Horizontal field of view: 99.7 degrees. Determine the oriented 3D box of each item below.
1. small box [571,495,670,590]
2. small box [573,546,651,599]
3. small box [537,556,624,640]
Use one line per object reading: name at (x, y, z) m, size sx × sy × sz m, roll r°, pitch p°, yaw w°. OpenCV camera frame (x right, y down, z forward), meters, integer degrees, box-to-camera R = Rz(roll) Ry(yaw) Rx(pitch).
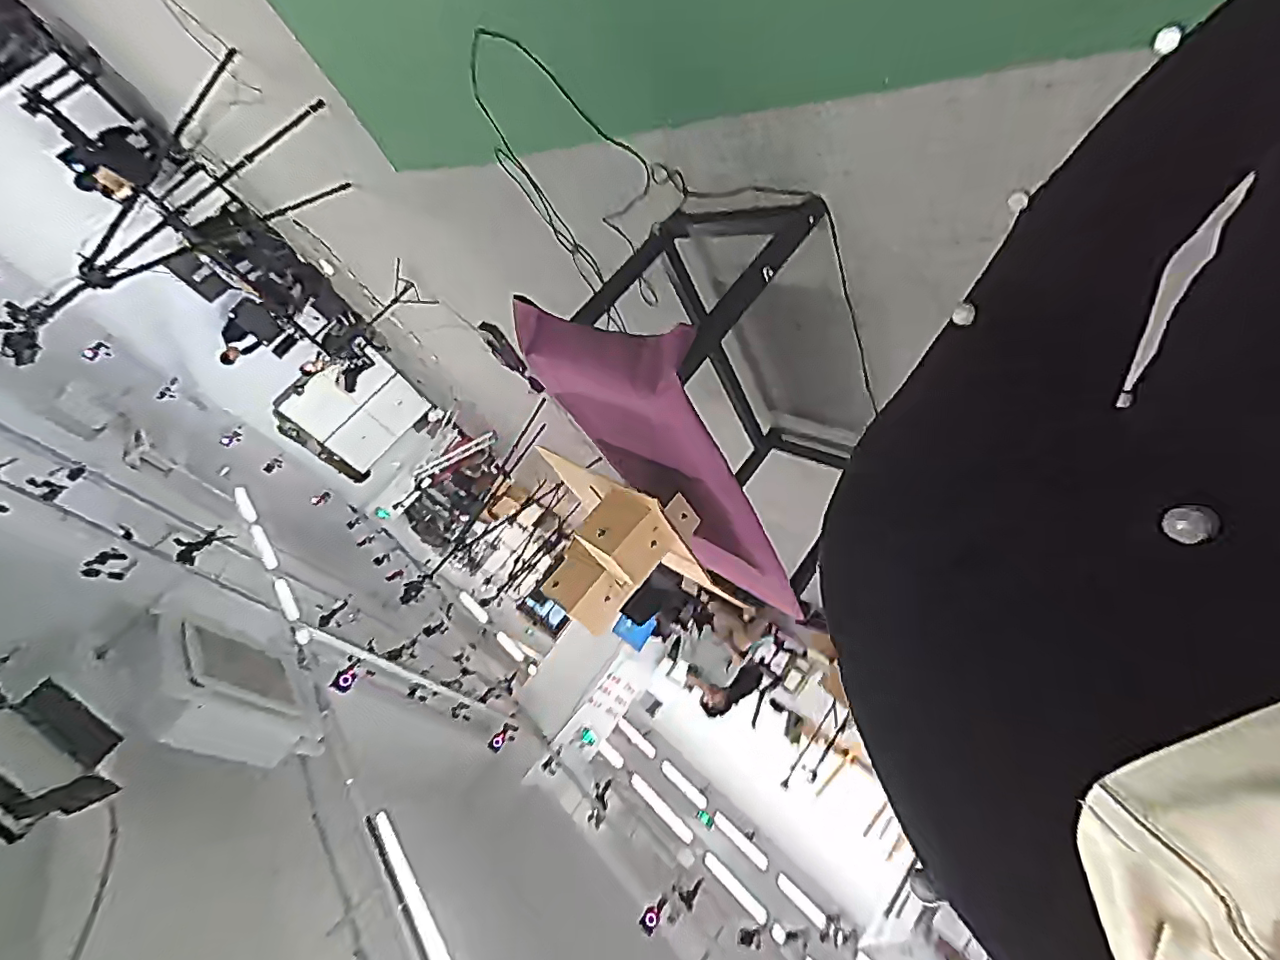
small box at (-0.049, 0.164, 1.486) m, size 0.179 × 0.176 × 0.168 m, roll 23°, pitch 155°, yaw 45°
small box at (-0.078, 0.247, 1.751) m, size 0.179 × 0.176 × 0.168 m, roll 24°, pitch 156°, yaw 46°
small box at (-0.184, 0.364, 1.707) m, size 0.179 × 0.176 × 0.168 m, roll 23°, pitch 155°, yaw 46°
